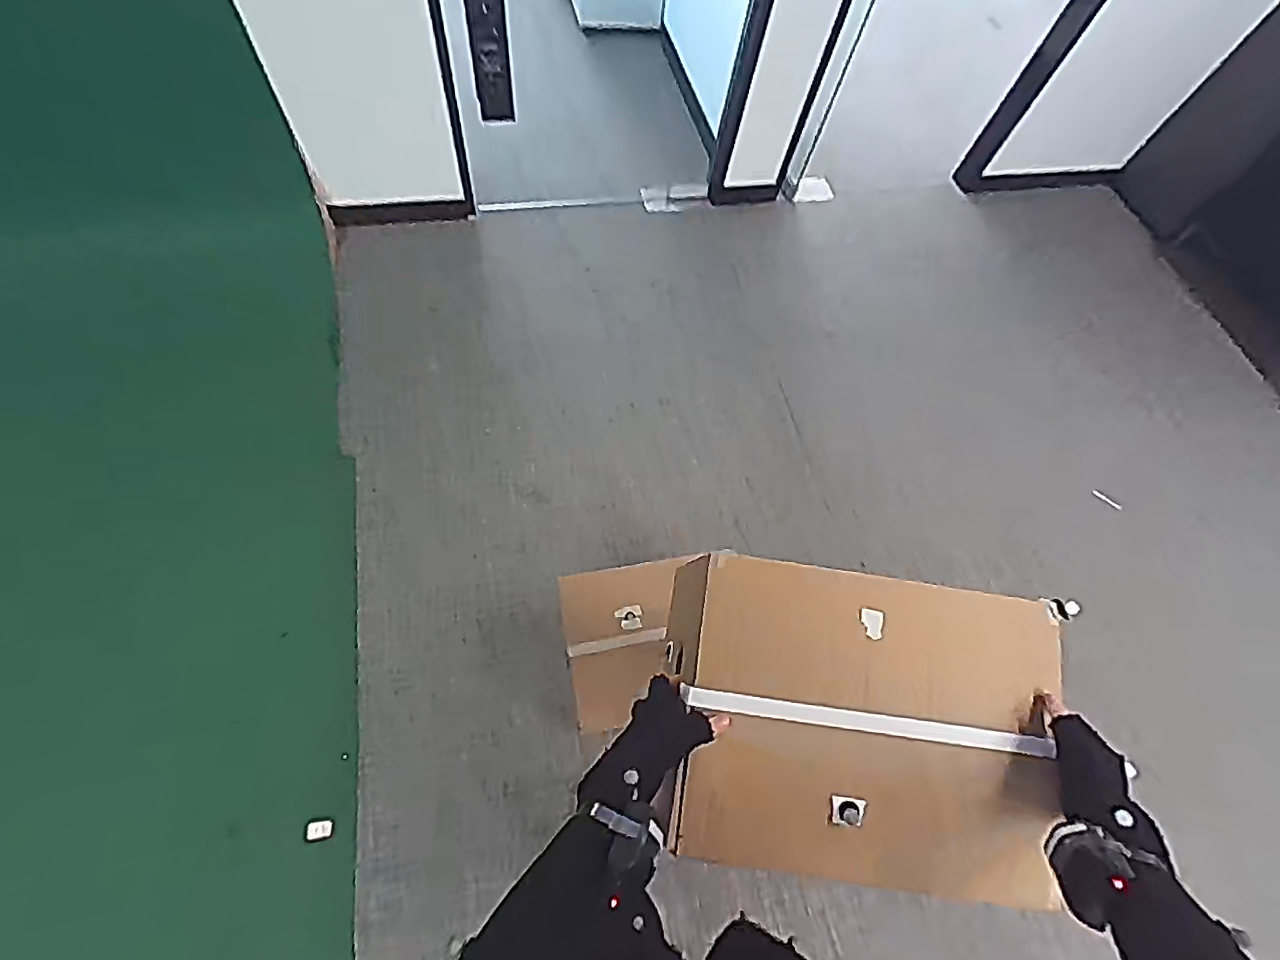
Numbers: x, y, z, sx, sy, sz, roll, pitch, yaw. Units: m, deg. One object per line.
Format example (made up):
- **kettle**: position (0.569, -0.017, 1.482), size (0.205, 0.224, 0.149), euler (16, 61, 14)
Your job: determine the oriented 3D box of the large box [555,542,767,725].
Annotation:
- **large box**: position (0.025, 0.364, 1.260), size (0.408, 0.320, 0.320), euler (-8, 66, -10)
